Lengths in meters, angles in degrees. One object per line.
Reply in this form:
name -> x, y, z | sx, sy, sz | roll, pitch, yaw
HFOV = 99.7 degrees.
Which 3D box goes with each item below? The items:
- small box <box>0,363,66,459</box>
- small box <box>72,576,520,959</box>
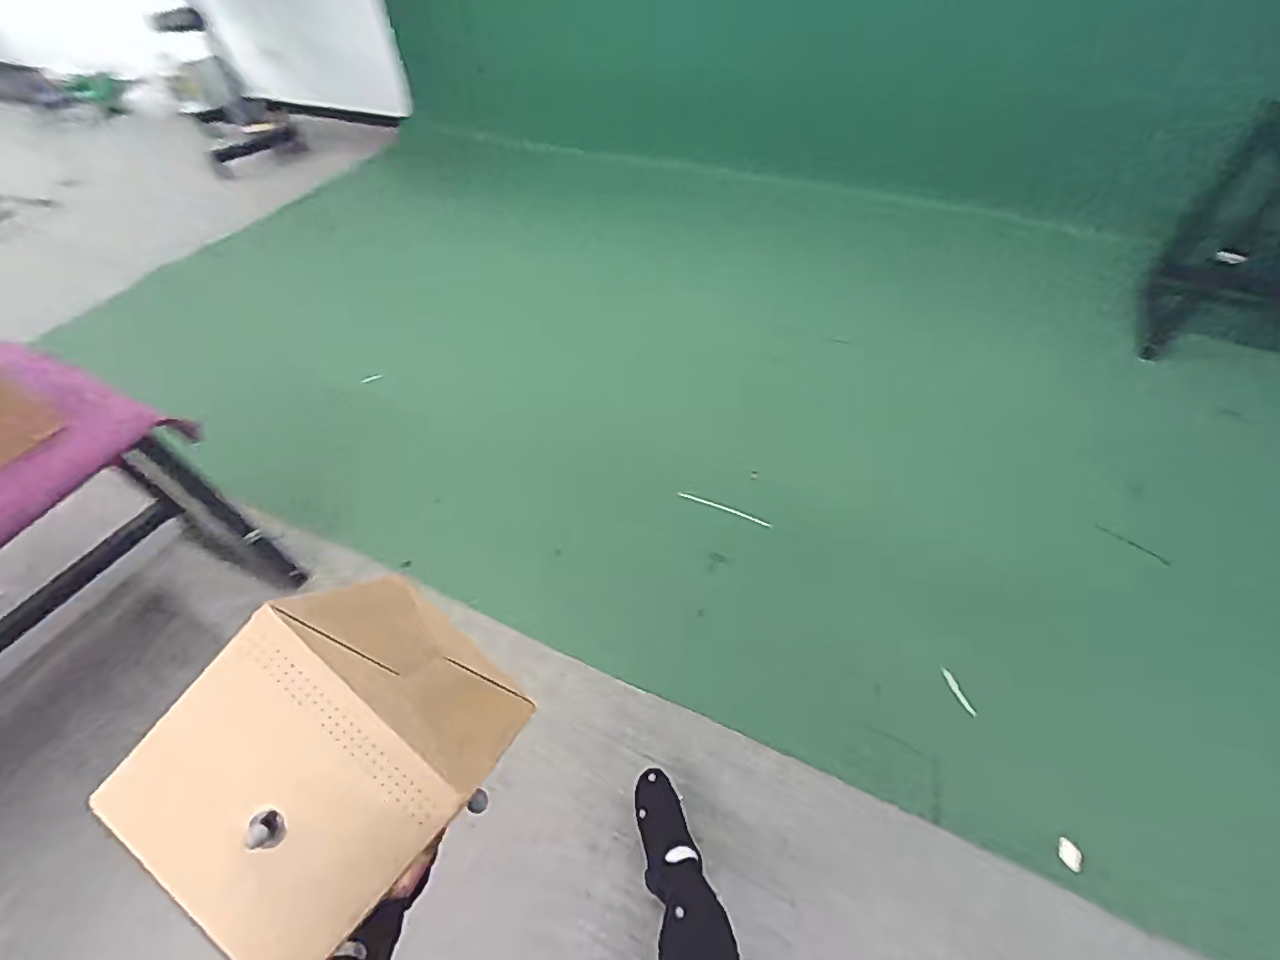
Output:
small box -> -1.303, -0.146, 1.045 | 0.168, 0.176, 0.179 | 21, 55, 20
small box -> -0.220, 0.191, 0.397 | 0.179, 0.168, 0.176 | 40, 88, 4
